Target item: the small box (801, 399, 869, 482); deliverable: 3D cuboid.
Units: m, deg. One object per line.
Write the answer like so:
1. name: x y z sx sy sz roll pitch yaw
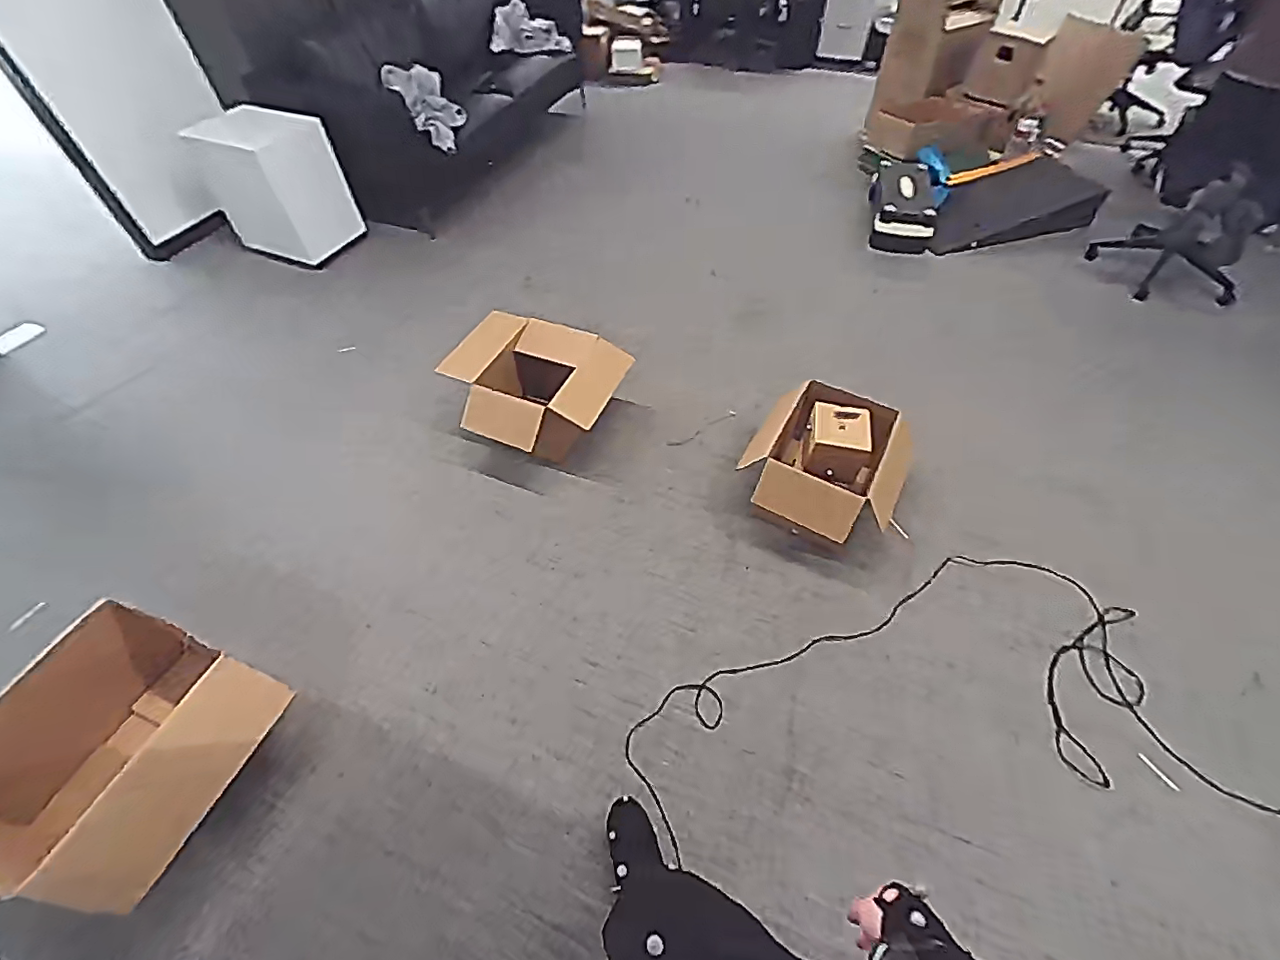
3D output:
1. small box: 0.609 -0.123 1.698 0.168 0.176 0.179 12 52 11
